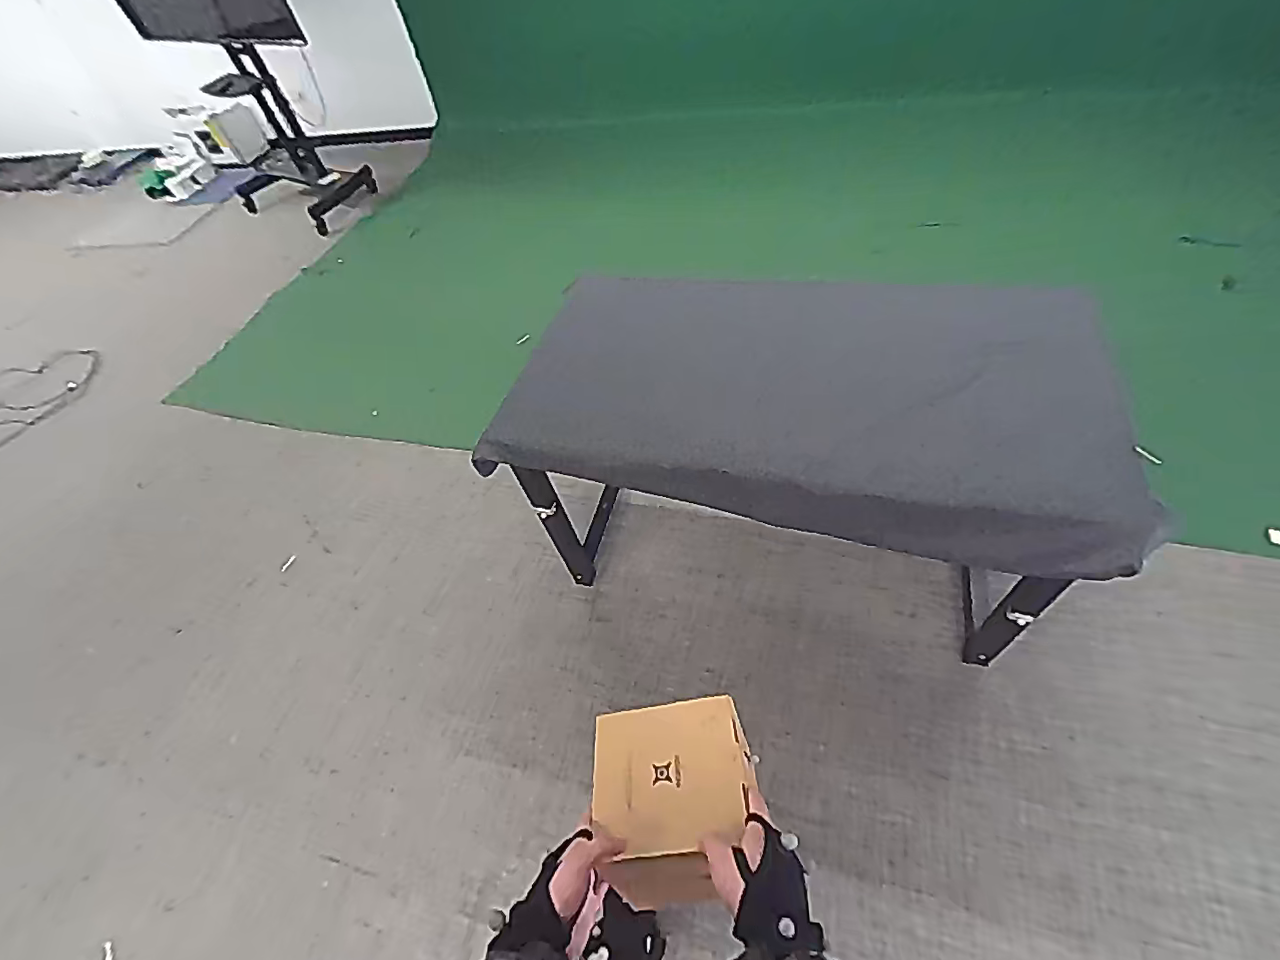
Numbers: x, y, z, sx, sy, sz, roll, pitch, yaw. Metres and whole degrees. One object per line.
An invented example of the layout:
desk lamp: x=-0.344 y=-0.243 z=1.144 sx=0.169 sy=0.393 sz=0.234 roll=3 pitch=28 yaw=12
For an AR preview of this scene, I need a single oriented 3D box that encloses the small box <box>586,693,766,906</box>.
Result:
small box: x=0.050 y=0.386 z=0.654 sx=0.179 sy=0.176 sz=0.168 roll=-13 pitch=34 yaw=10
